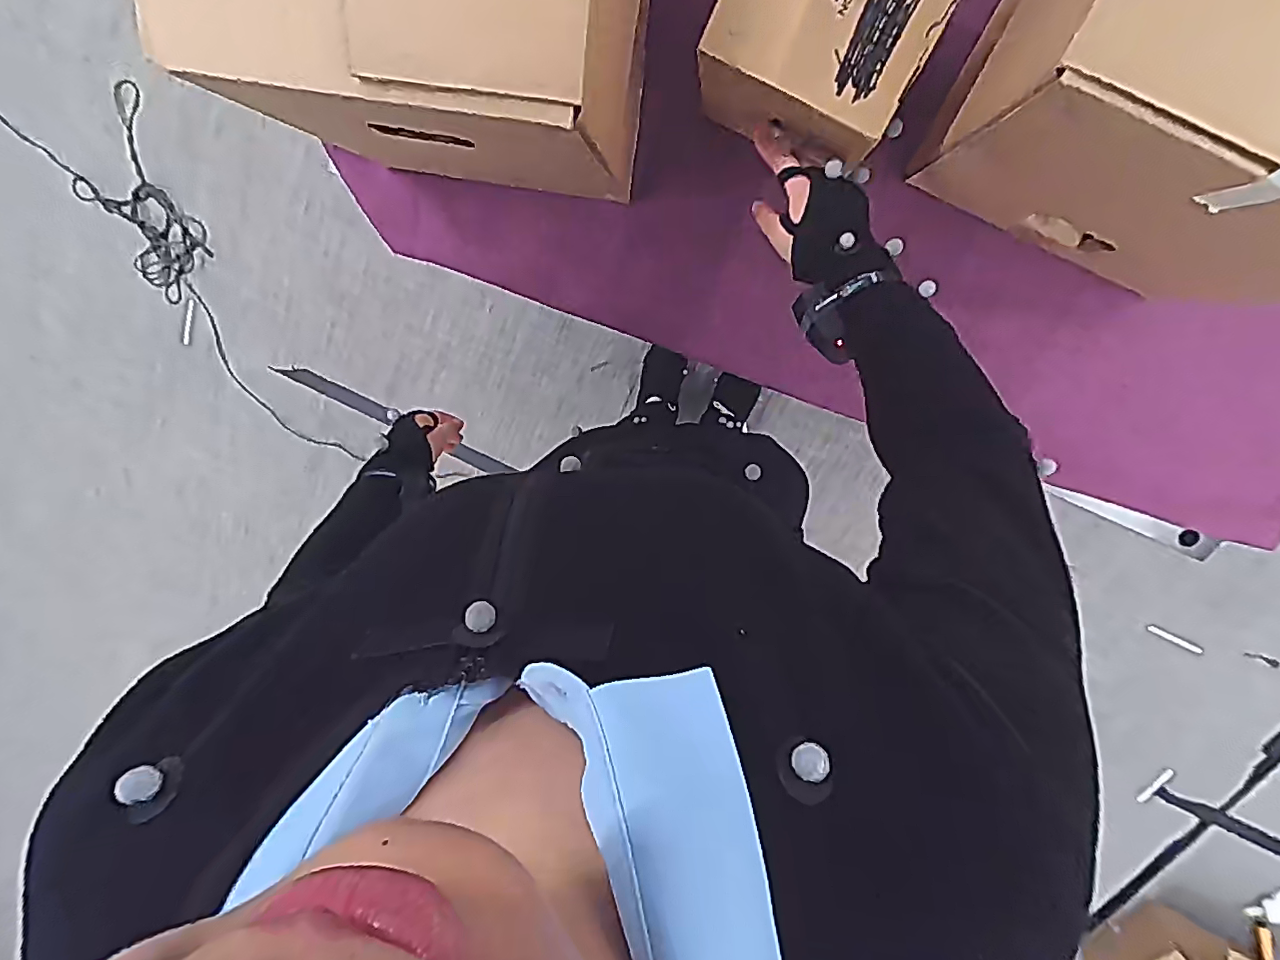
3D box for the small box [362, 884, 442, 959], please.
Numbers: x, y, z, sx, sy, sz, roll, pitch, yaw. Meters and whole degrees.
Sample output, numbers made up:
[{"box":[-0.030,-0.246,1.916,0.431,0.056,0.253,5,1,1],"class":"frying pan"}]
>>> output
[{"box":[-0.809,1.549,1.855,0.168,0.176,0.179,29,108,-2],"class":"small box"}]
